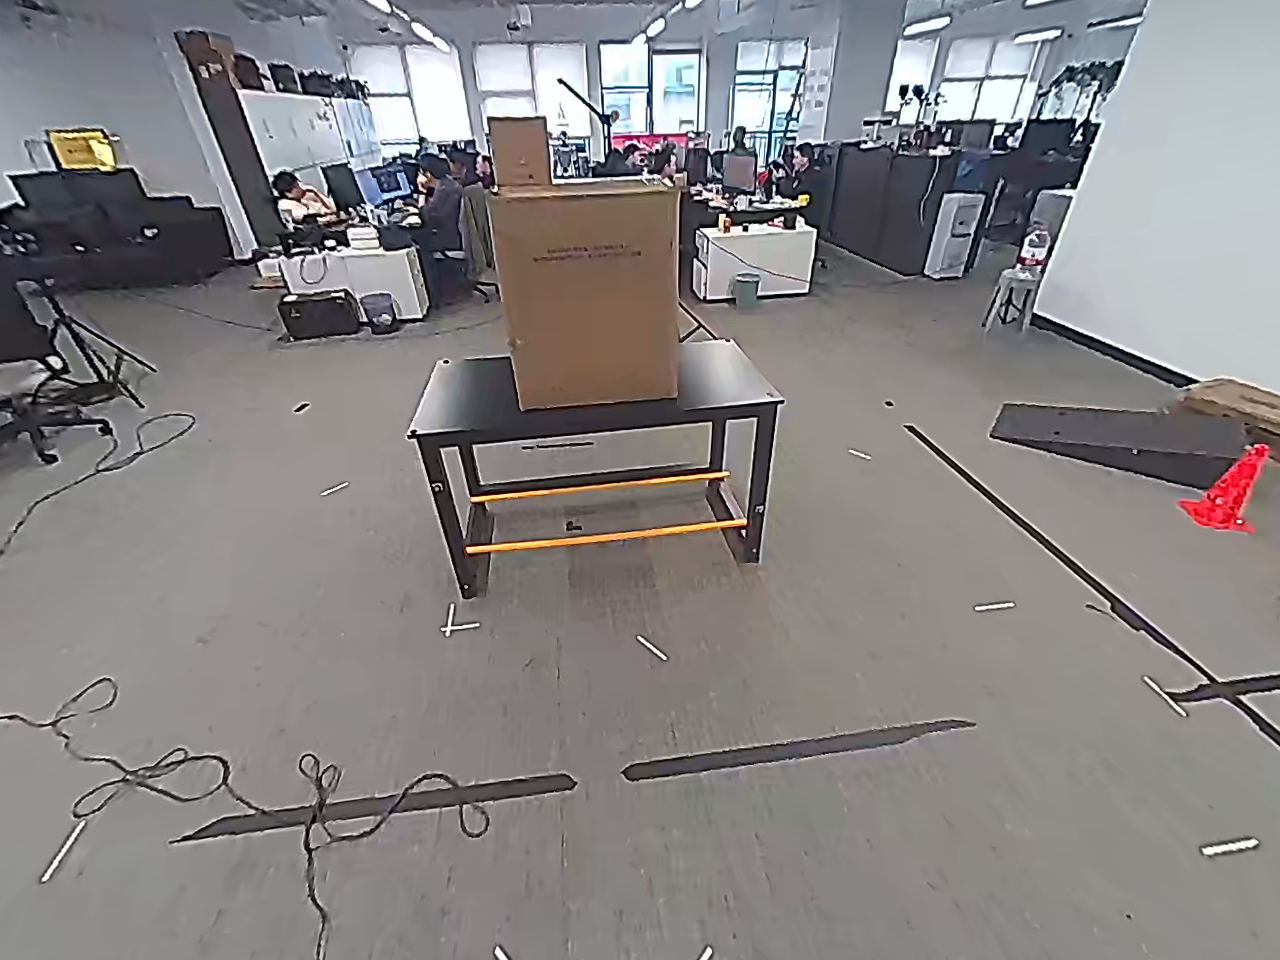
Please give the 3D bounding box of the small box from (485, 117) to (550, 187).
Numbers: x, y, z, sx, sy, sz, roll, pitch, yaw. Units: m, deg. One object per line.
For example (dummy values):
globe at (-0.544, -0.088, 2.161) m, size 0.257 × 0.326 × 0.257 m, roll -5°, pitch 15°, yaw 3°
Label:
small box at (-0.359, -0.972, 1.606) m, size 0.168 × 0.176 × 0.179 m, roll -7°, pitch 33°, yaw -8°
